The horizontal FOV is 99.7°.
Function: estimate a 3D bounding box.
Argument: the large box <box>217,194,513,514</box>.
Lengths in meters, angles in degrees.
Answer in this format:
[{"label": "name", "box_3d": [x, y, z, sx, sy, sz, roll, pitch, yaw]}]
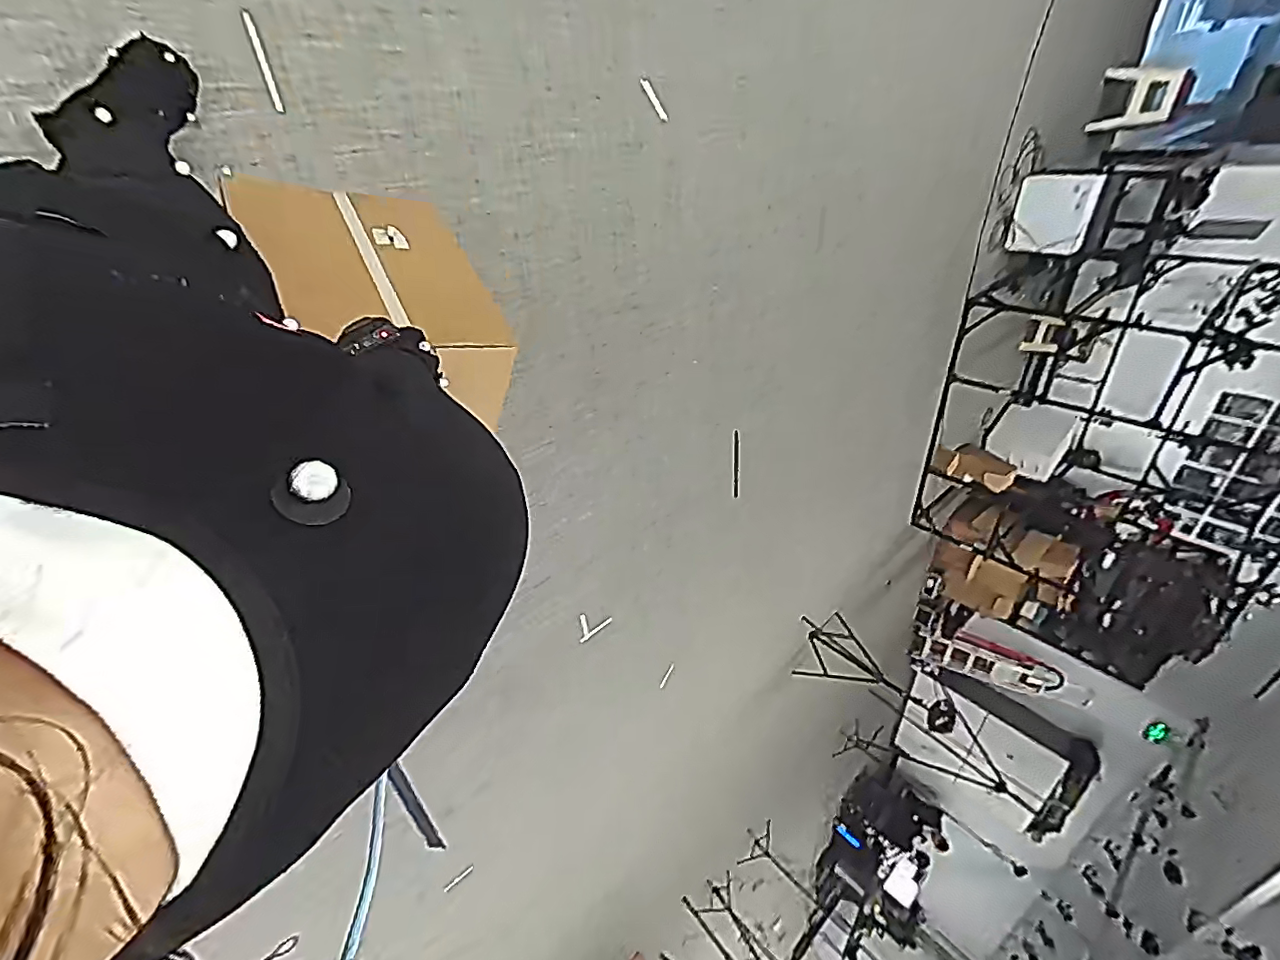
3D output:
[{"label": "large box", "box_3d": [-0.462, -0.211, 0.904, 0.320, 0.408, 0.320, -11, 144, -39]}]
